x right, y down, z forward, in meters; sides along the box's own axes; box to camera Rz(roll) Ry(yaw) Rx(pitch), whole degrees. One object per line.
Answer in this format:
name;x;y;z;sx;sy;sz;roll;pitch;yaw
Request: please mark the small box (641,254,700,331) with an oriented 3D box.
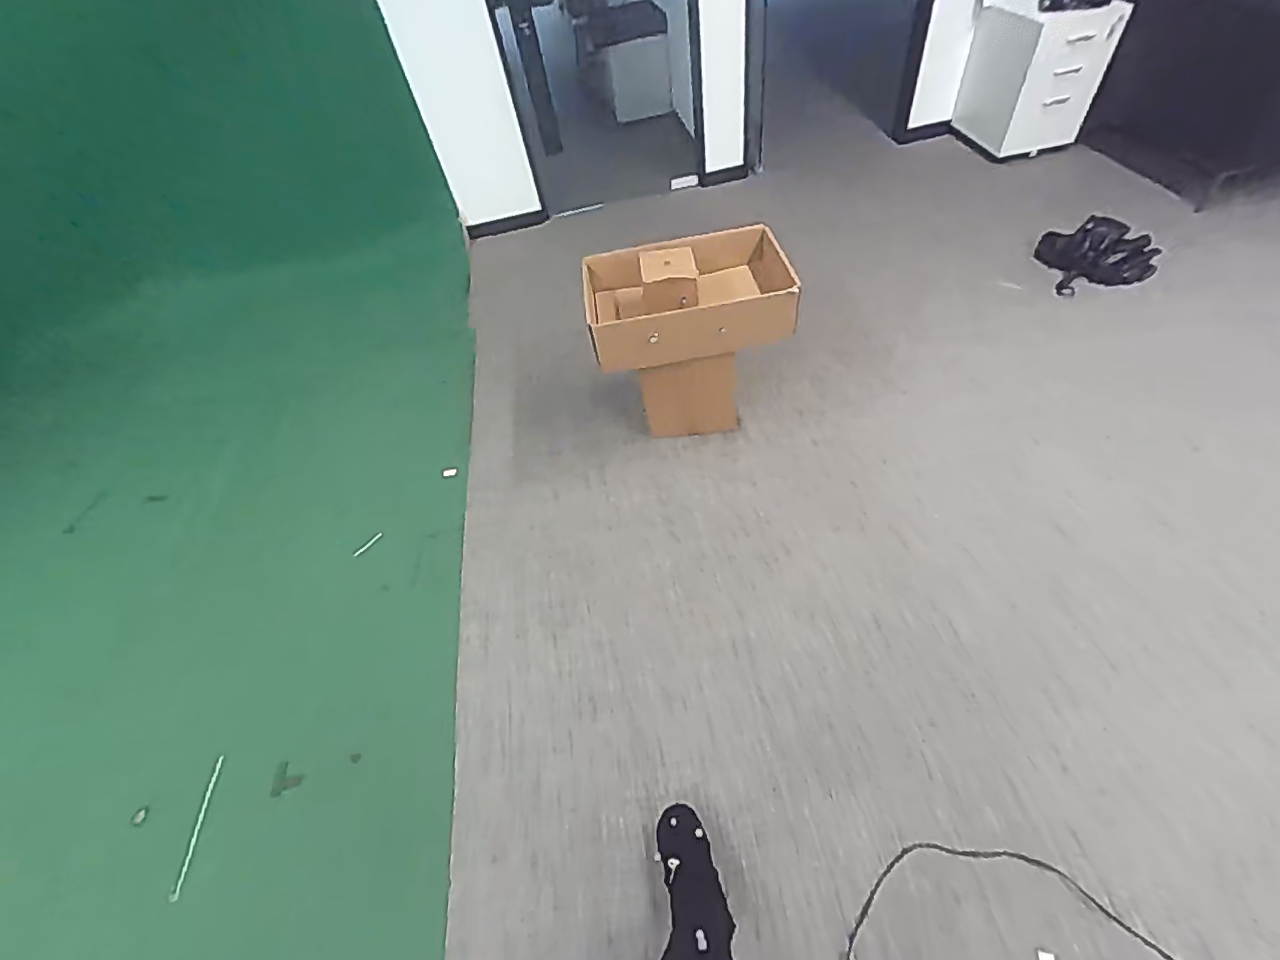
small box;0.097;-0.585;1.705;0.168;0.176;0.179;-7;48;1
